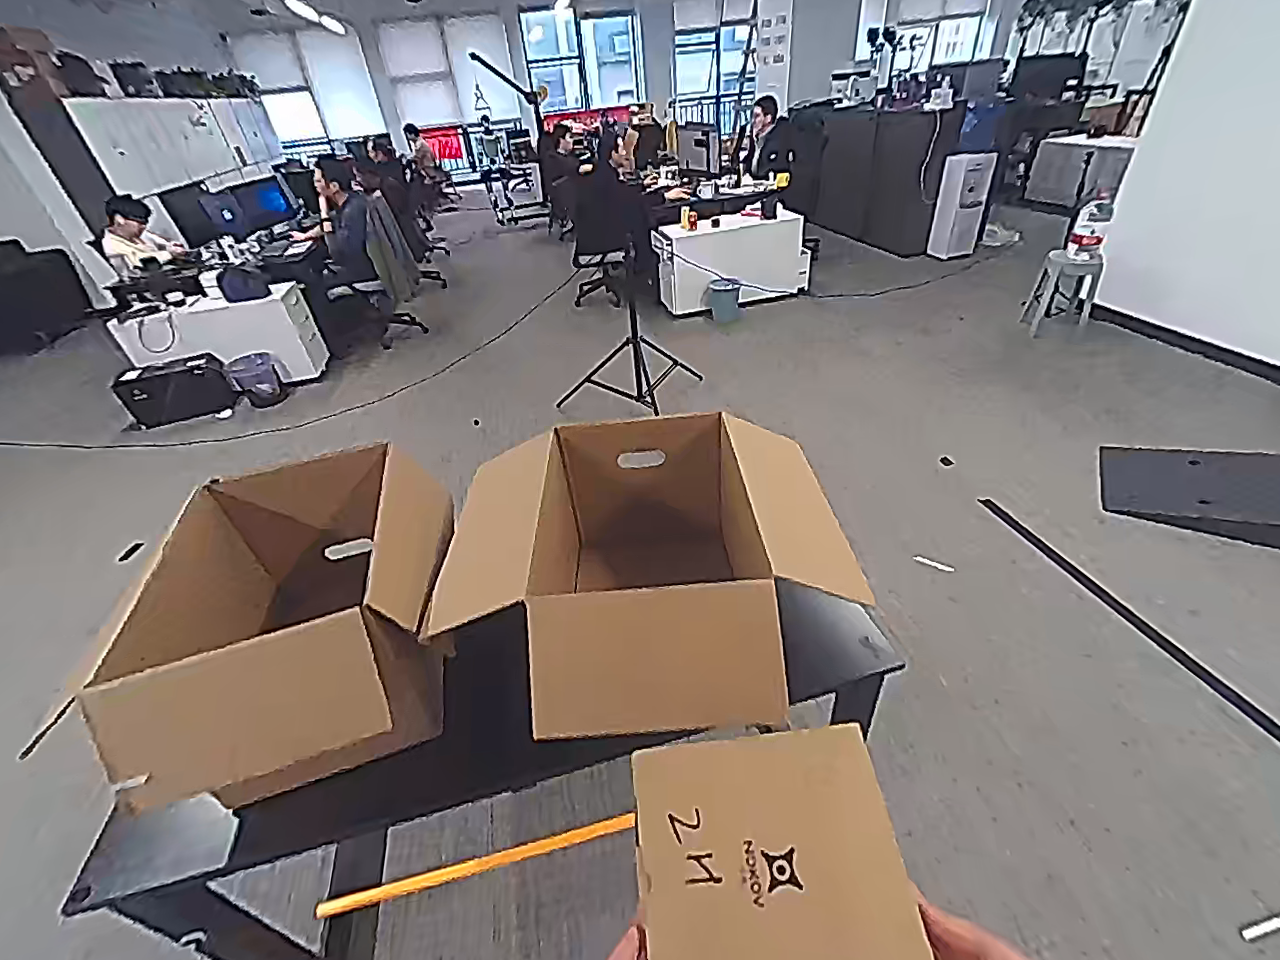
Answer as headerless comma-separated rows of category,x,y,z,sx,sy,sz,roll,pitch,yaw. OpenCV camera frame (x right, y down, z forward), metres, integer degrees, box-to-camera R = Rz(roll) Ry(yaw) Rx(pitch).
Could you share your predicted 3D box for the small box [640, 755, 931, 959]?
small box,0.100,0.326,0.419,0.179,0.176,0.168,-8,50,4
